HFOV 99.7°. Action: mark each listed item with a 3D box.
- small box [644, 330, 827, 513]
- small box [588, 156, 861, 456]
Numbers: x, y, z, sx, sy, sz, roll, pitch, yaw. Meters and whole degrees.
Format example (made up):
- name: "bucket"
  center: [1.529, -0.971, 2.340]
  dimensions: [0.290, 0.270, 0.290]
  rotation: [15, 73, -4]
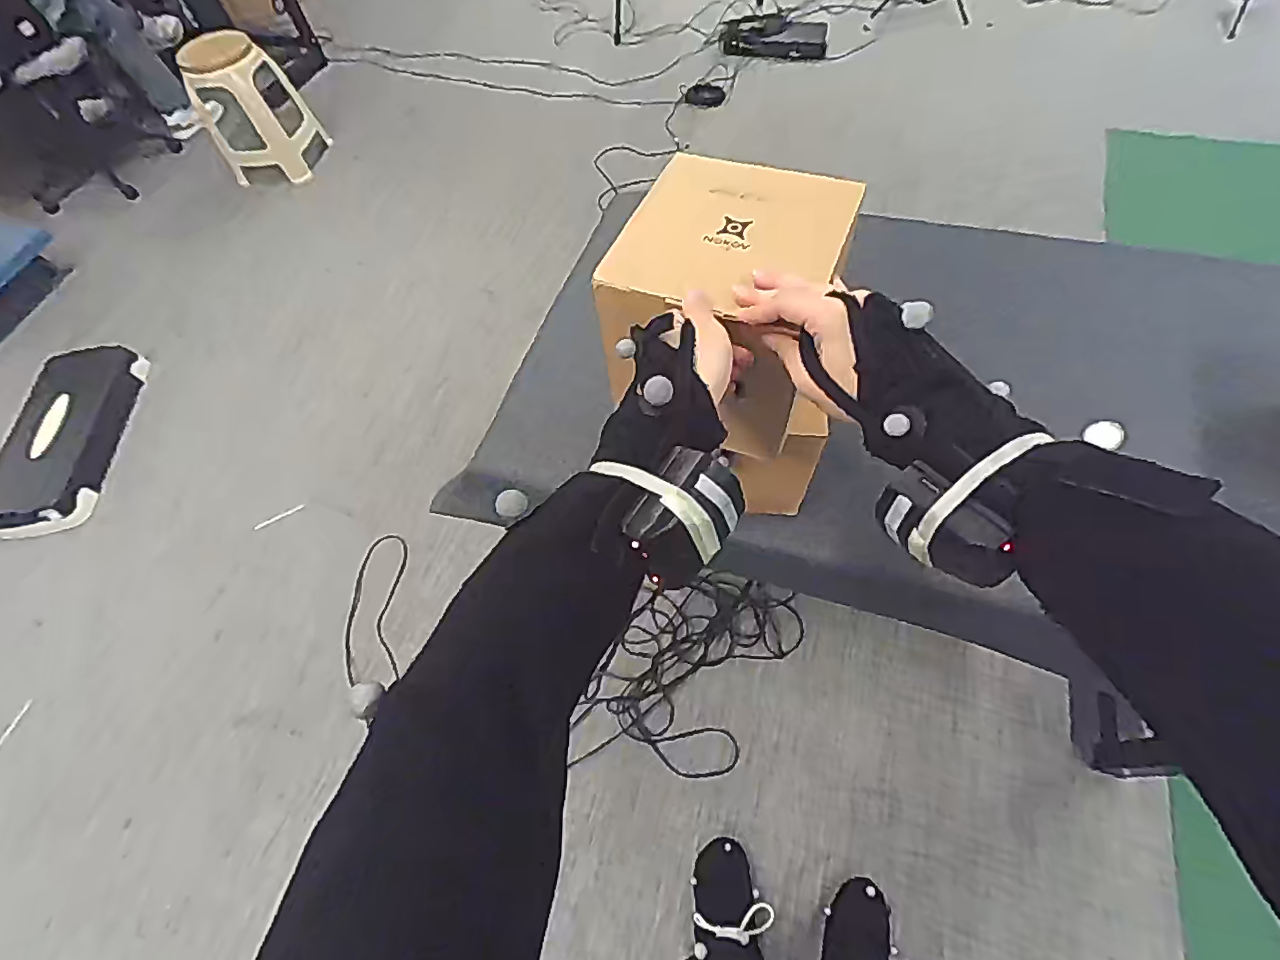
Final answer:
- name: "small box"
  center: [0.105, -0.072, 0.624]
  dimensions: [0.179, 0.176, 0.168]
  rotation: [3, 60, 8]
- name: "small box"
  center: [0.075, -0.148, 0.483]
  dimensions: [0.168, 0.176, 0.179]
  rotation: [19, 62, 14]
